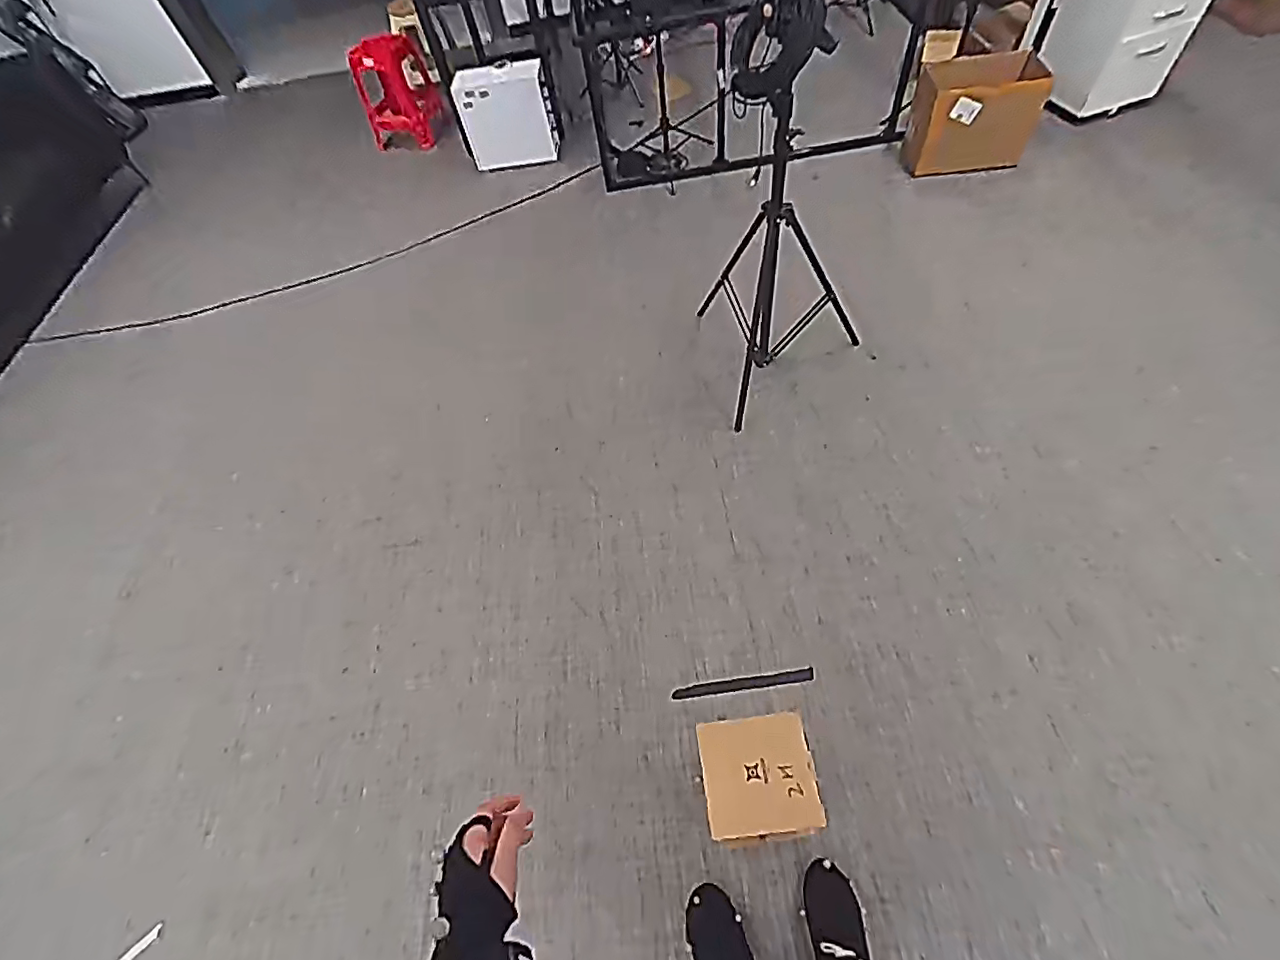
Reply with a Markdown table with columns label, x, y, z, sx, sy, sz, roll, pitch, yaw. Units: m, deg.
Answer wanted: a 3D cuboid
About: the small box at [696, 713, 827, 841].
| label | x | y | z | sx | sy | sz | roll | pitch | yaw |
| --- | --- | --- | --- | --- | --- | --- | --- | --- | --- |
| small box | 0.194 | 0.502 | 0.908 | 0.179 | 0.176 | 0.168 | -8 | 57 | 3 |
